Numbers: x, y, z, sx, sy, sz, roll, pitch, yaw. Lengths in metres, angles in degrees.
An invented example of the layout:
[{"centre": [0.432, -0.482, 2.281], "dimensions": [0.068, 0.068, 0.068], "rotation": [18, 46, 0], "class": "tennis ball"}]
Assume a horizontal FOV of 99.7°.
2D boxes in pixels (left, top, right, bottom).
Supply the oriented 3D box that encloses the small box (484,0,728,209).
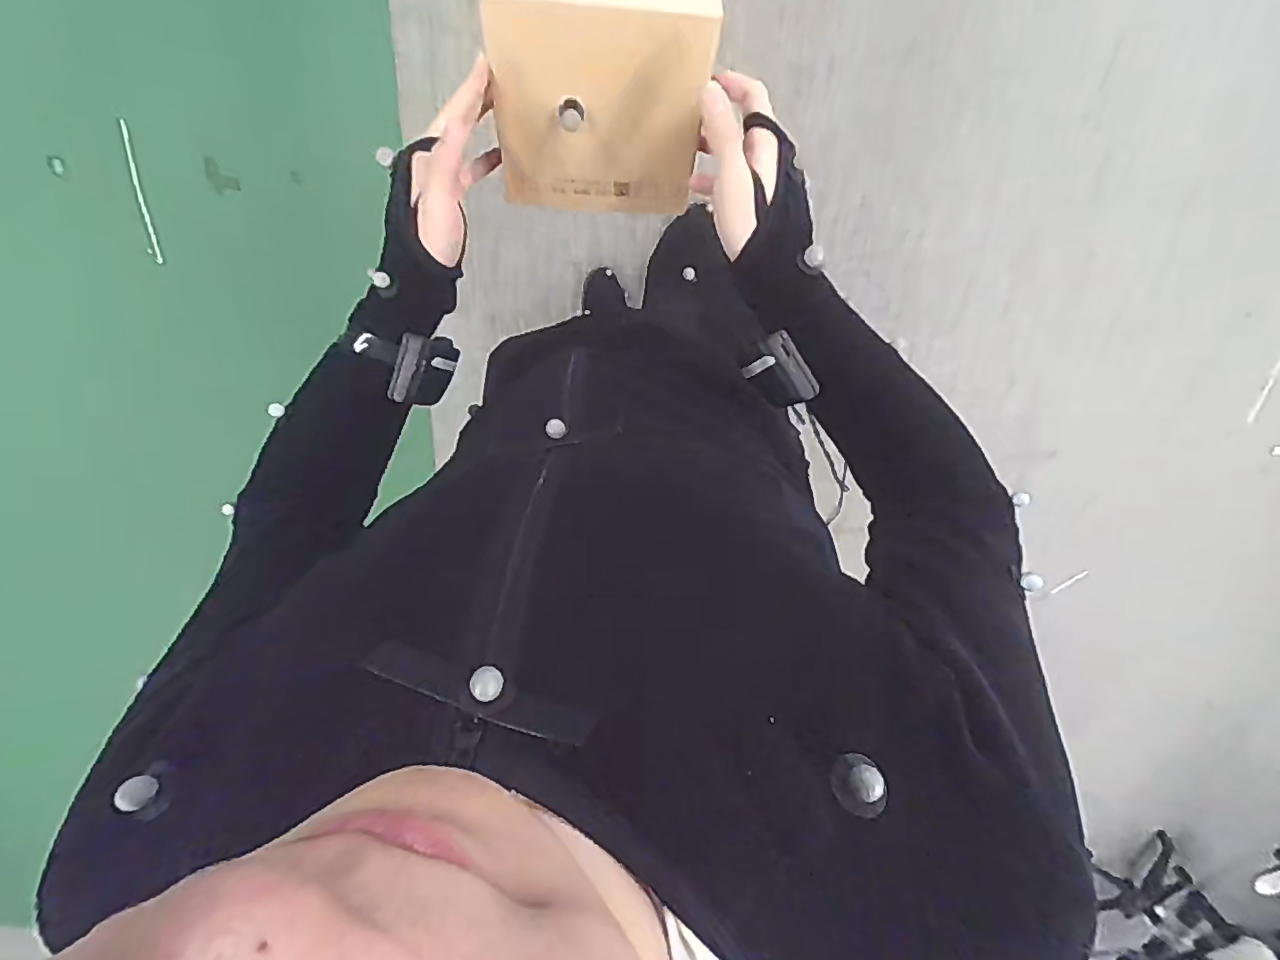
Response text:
[{"centre": [-0.030, -0.361, 0.459], "dimensions": [0.168, 0.179, 0.176], "rotation": [1, 157, -6], "class": "small box"}]
